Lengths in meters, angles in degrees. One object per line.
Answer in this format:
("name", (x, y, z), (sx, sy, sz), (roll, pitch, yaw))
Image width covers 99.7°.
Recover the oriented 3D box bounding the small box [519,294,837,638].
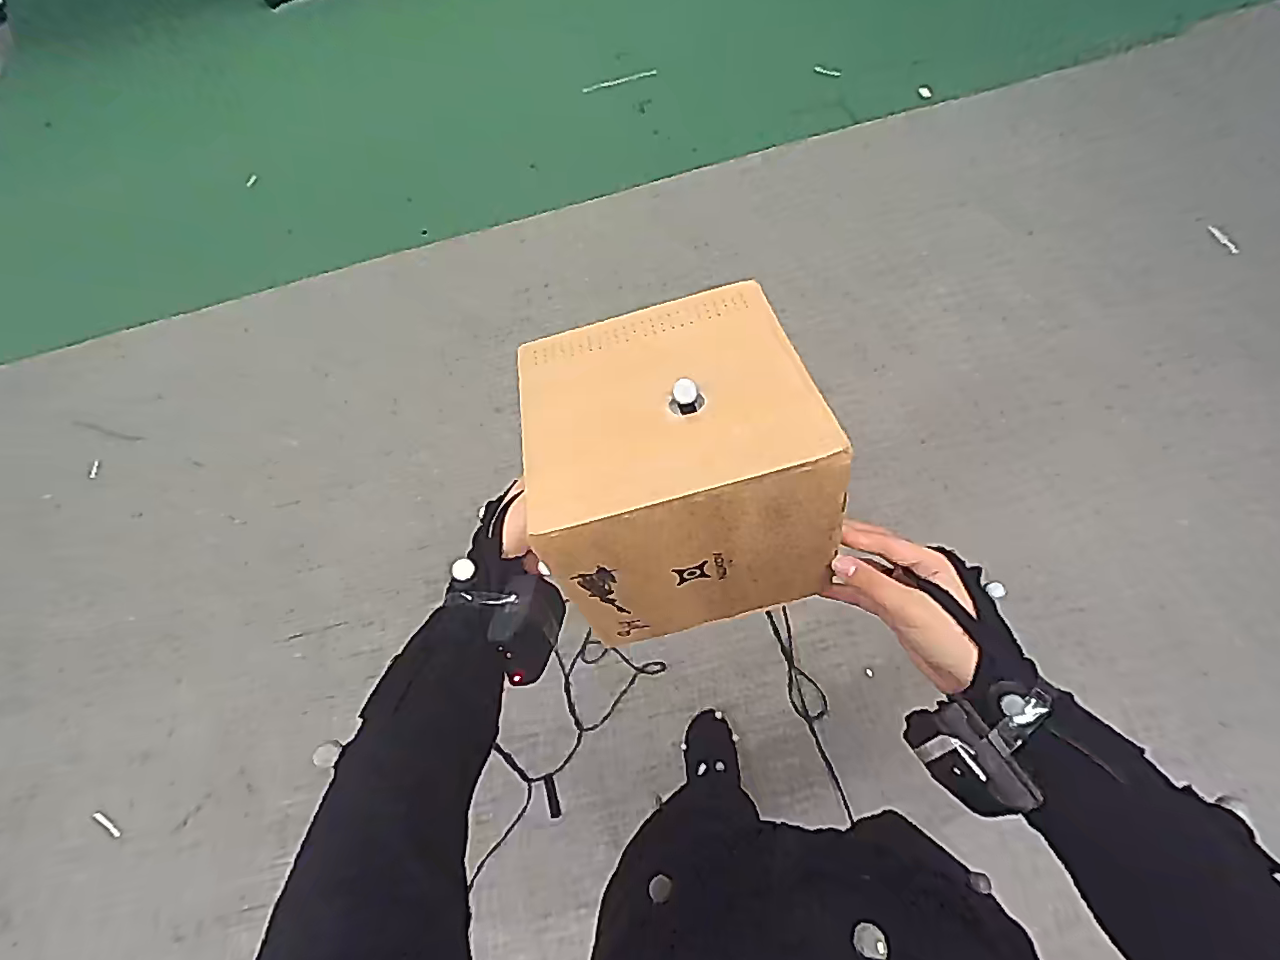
("small box", (0.022, -0.010, 0.402), (0.179, 0.168, 0.176), (-16, 51, 2))
